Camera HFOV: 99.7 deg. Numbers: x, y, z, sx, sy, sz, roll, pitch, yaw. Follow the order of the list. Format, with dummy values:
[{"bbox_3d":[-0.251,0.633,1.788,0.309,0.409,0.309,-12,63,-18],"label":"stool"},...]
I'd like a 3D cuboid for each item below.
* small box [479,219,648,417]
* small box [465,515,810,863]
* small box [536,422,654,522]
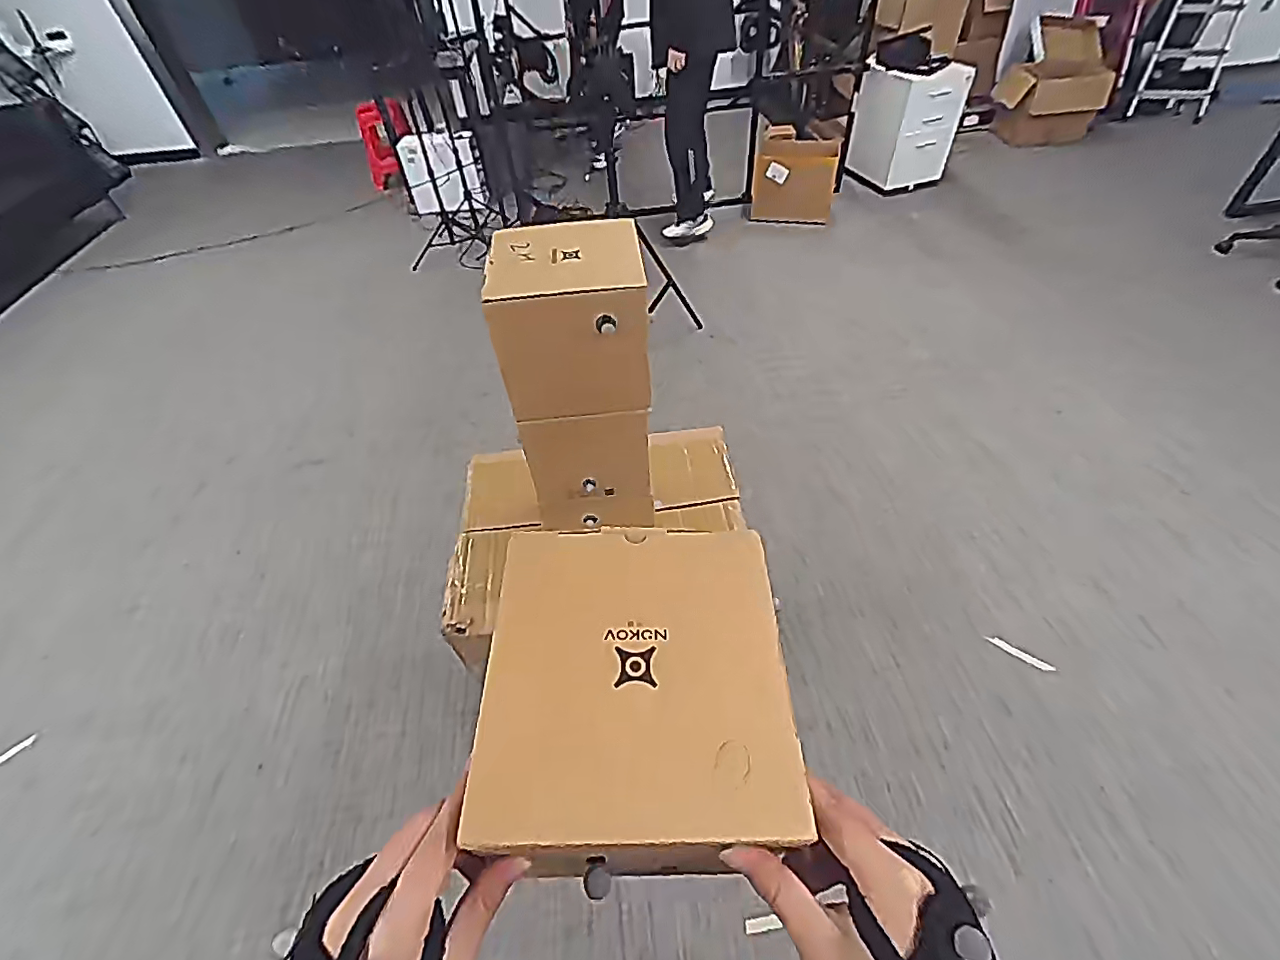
[{"bbox_3d":[-0.083,-0.197,0.671,0.179,0.176,0.168,-6,48,-1],"label":"small box"},{"bbox_3d":[-0.001,0.144,0.364,0.168,0.176,0.179,-2,48,-1],"label":"small box"},{"bbox_3d":[-0.069,0.025,0.913,0.179,0.176,0.168,-6,48,-1],"label":"small box"}]
